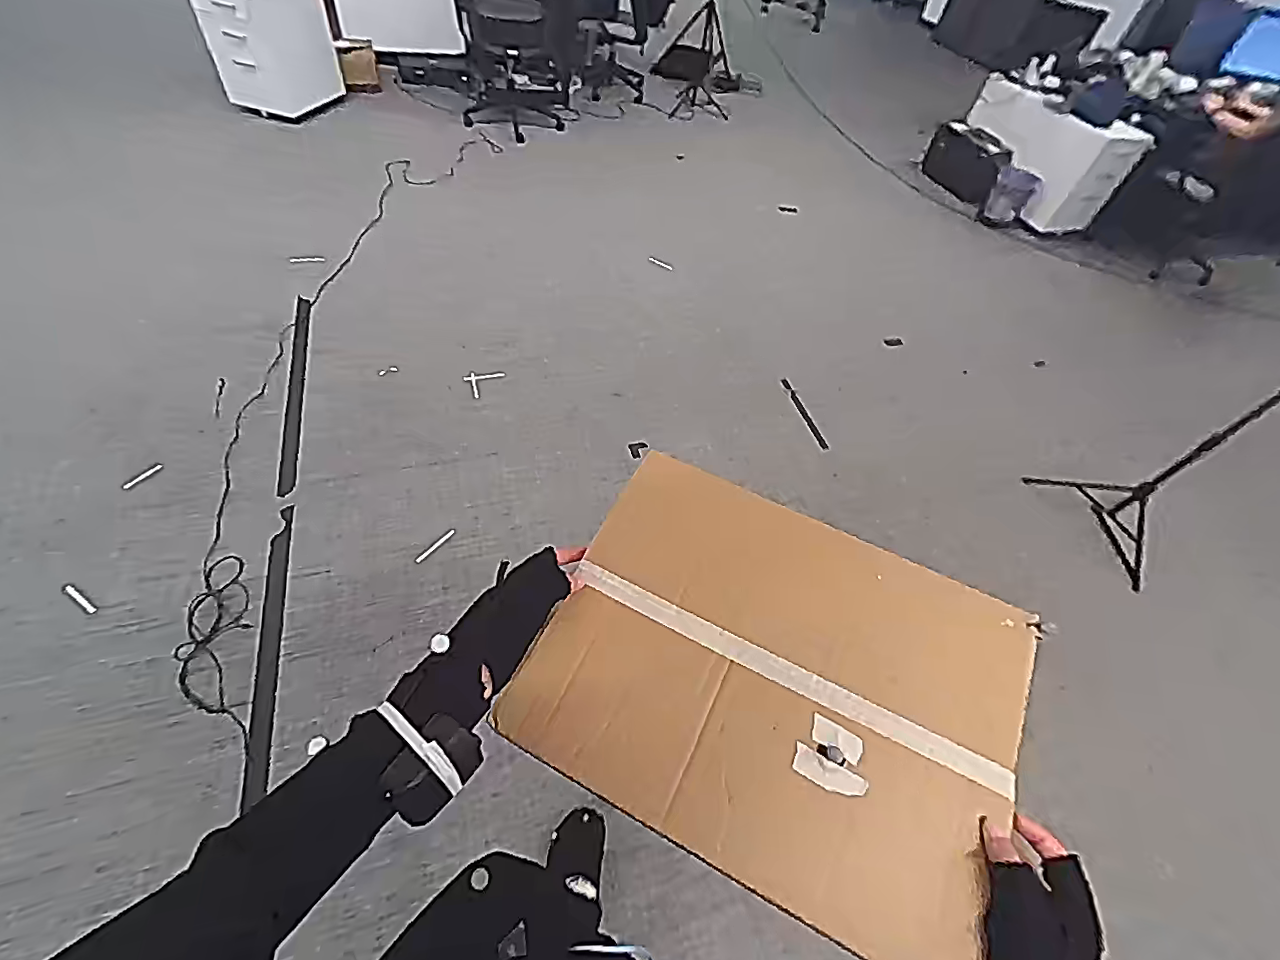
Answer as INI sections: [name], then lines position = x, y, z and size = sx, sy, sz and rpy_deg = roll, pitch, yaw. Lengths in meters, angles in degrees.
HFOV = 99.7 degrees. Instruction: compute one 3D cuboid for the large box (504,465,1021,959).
[large box]
position = 0.120, 0.249, 0.622
size = 0.408, 0.320, 0.320
rpy_deg = 25, 63, 13
